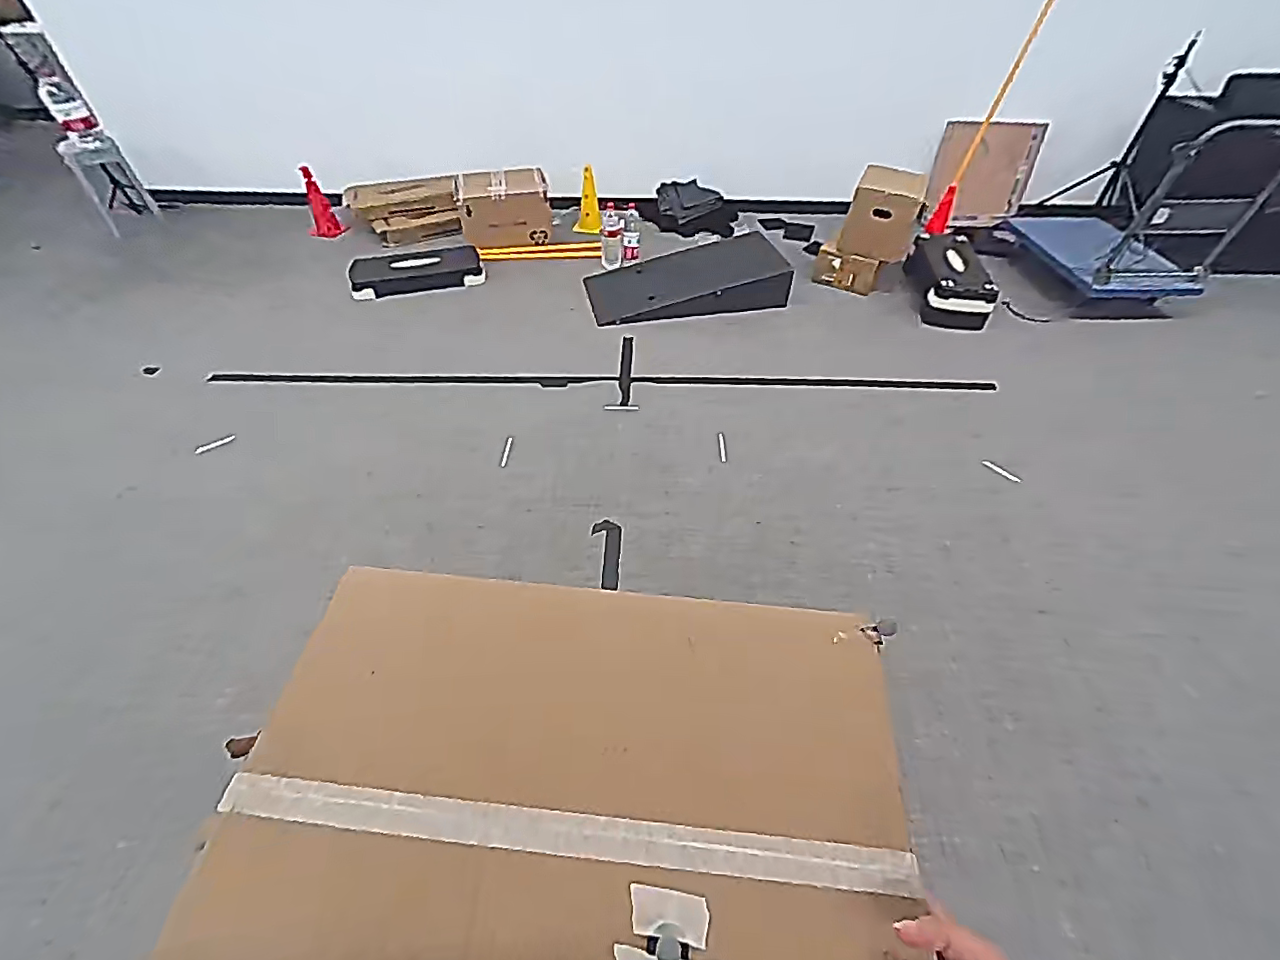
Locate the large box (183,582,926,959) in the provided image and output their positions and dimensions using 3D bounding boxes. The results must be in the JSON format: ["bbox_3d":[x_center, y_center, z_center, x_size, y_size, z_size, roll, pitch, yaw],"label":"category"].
[{"bbox_3d":[-0.041,0.306,0.441,0.408,0.320,0.320,5,52,3],"label":"large box"}]
